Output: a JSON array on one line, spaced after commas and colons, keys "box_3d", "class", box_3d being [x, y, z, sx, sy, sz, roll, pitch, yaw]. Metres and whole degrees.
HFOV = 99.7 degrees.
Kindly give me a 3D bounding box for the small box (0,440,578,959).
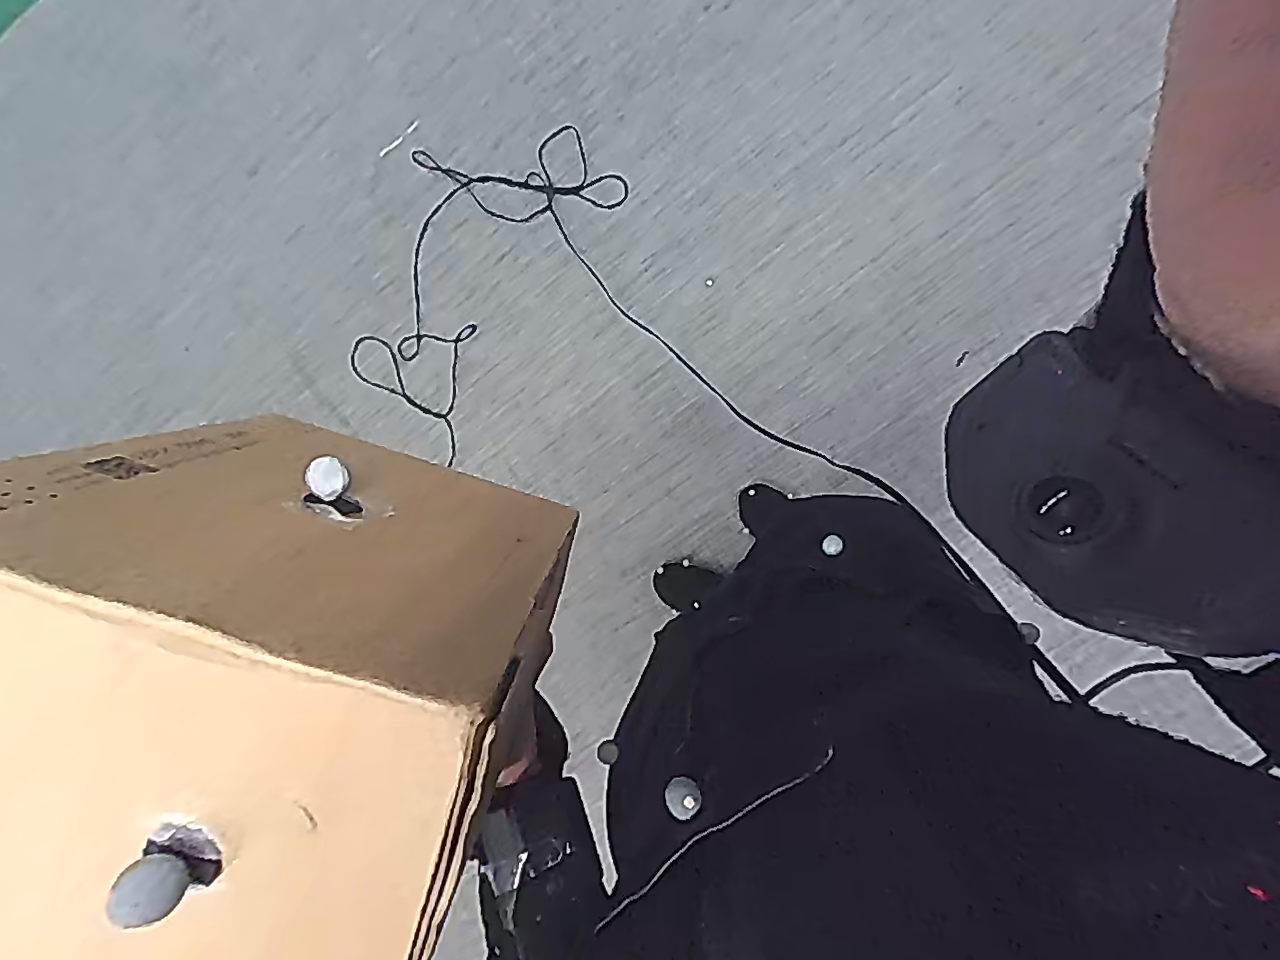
[{"box_3d": [-0.139, 0.090, 0.233, 0.176, 0.168, 0.179, 18, 103, -2], "class": "small box"}]
